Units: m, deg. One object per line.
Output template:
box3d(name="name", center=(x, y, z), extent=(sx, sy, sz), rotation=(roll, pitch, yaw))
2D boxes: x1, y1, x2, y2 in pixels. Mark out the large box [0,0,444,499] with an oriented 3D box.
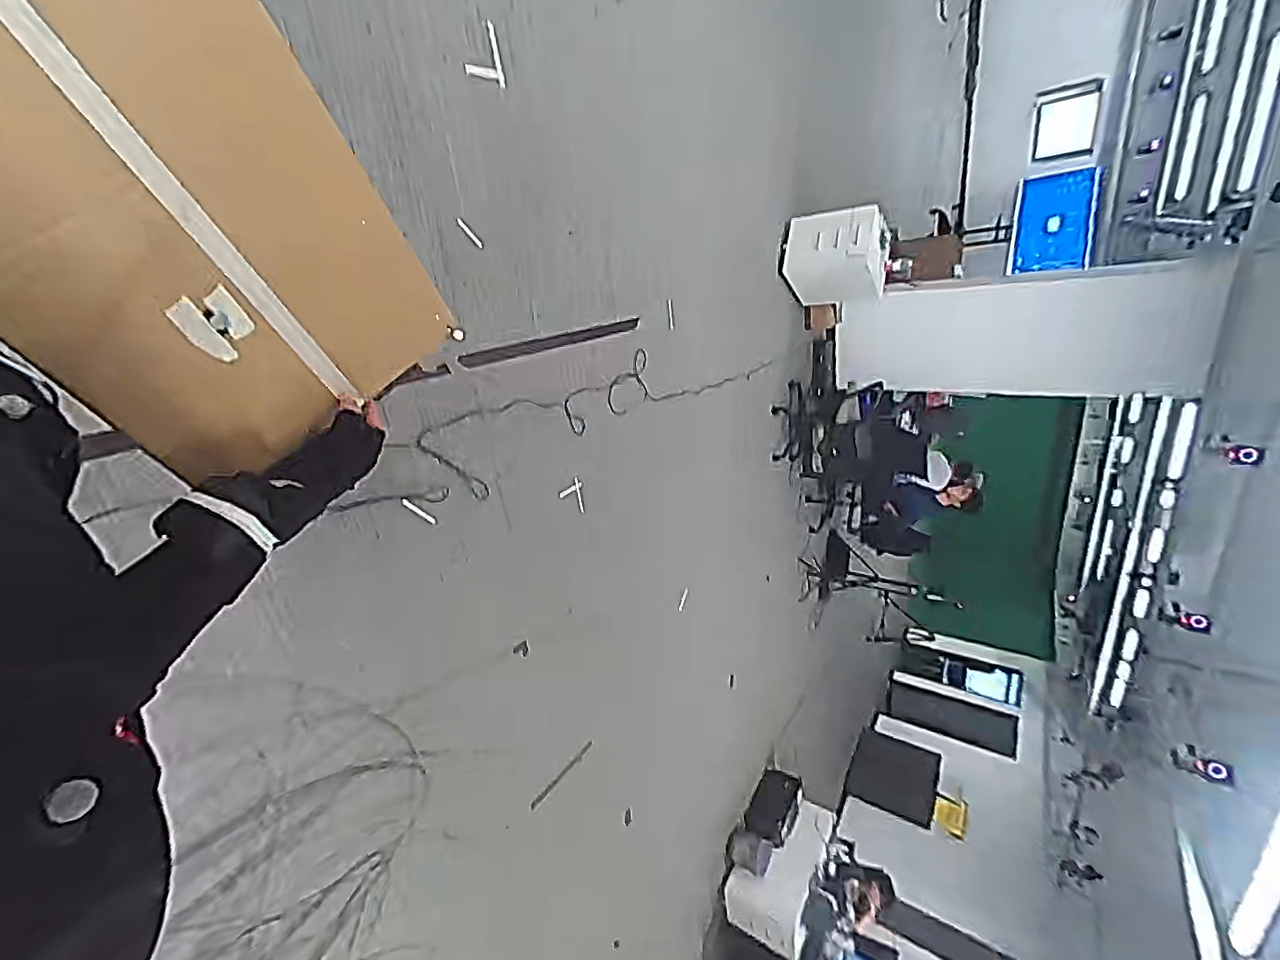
box3d(name="large box", center=(-0.497, -0.252, 0.545), extent=(0.320, 0.320, 0.408), rotation=(-50, 139, -26))
